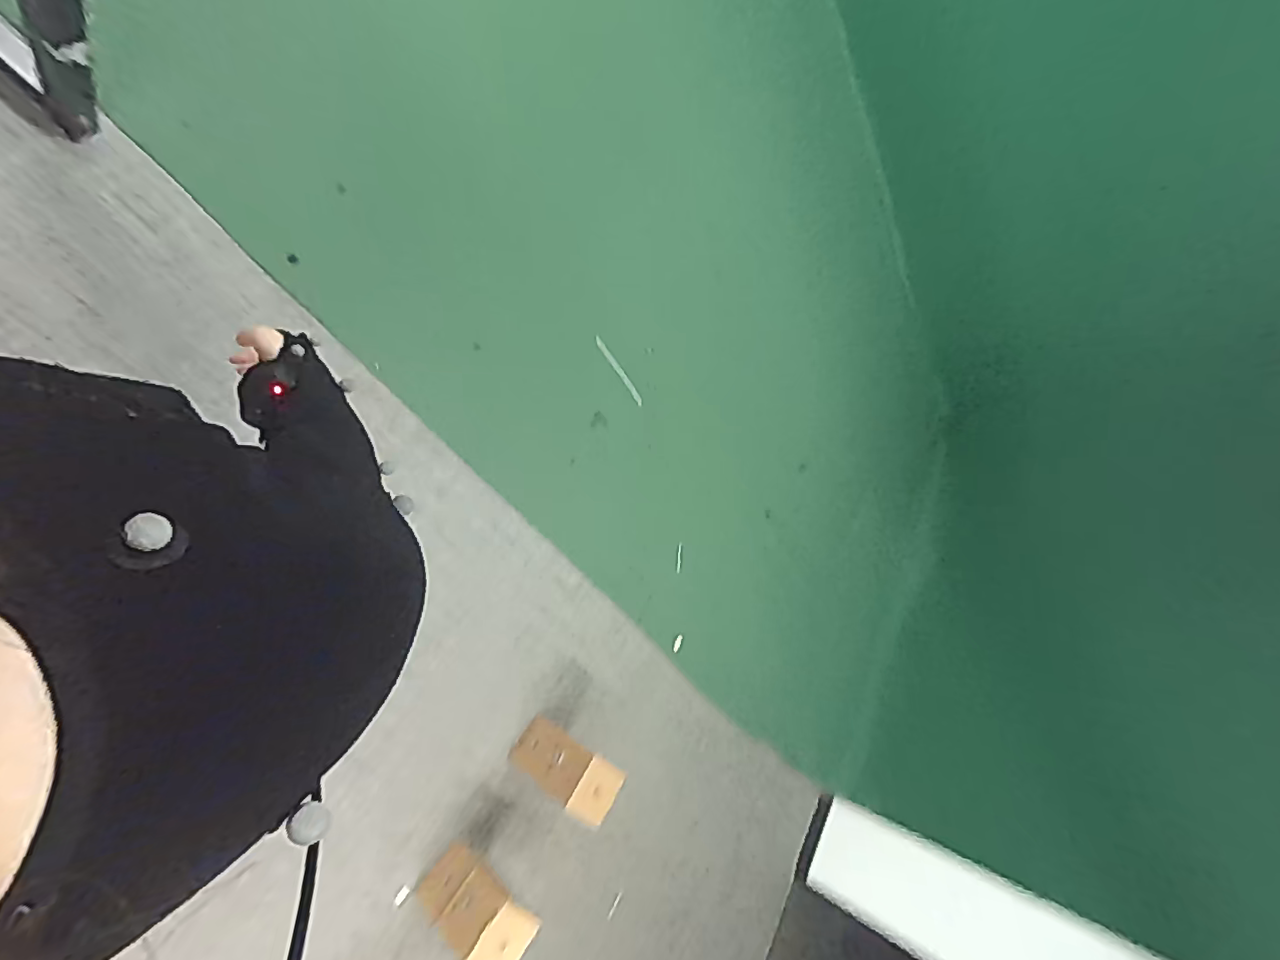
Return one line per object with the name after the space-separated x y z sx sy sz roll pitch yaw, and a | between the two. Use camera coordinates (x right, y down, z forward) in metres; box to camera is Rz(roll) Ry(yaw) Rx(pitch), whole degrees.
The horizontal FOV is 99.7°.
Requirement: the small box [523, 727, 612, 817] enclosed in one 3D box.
-0.227 0.909 1.696 0.179 0.176 0.168 52 59 -33 | small box

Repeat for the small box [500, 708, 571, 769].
-0.337 0.895 1.816 0.168 0.176 0.179 -52 125 -27 | small box

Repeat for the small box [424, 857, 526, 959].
-0.460 1.200 1.505 0.168 0.176 0.179 -49 124 -29 | small box
